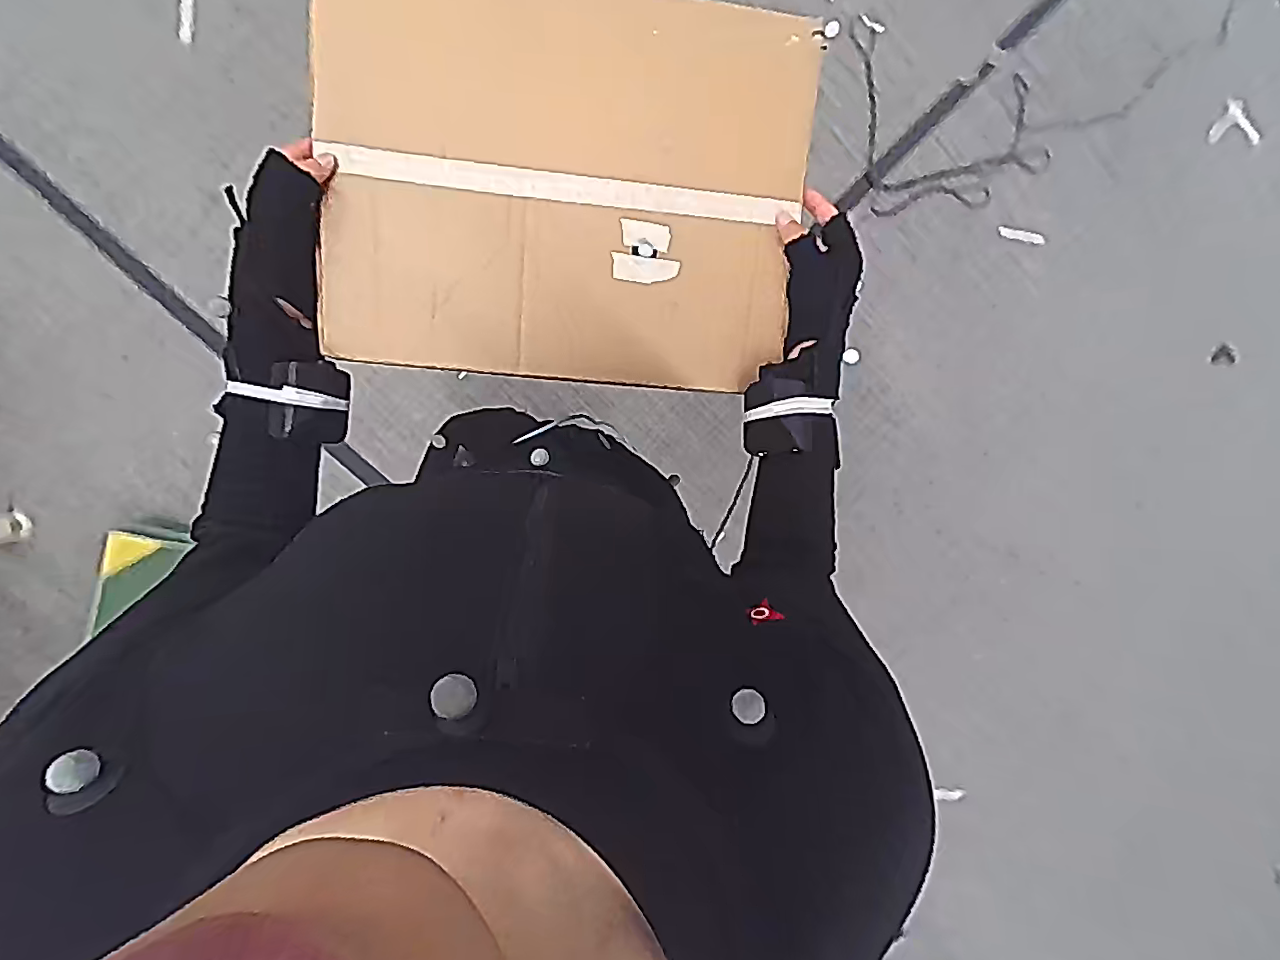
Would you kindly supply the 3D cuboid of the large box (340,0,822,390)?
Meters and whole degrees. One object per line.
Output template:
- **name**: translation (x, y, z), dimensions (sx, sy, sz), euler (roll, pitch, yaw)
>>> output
- **large box**: translation (-0.070, -0.276, 0.614), dimensions (0.408, 0.320, 0.320), euler (4, 101, -9)
